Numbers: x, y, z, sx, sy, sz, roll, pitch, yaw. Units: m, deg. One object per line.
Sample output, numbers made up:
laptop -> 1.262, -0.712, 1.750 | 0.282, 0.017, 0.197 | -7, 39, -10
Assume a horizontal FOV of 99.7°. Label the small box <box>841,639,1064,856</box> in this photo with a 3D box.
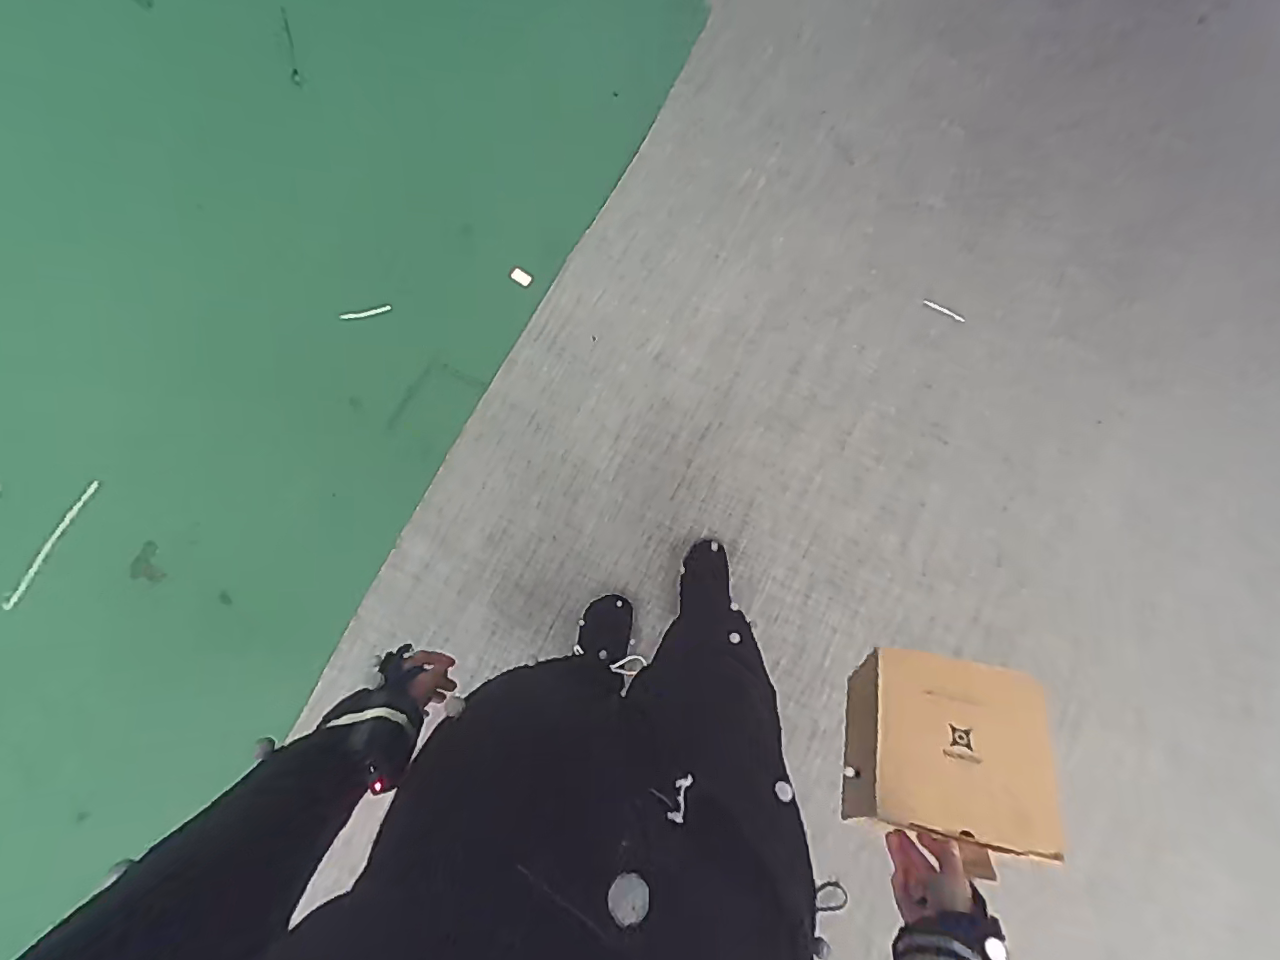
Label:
small box -> 0.333, 0.307, 0.617 | 0.168, 0.176, 0.179 | 8, 56, 11
